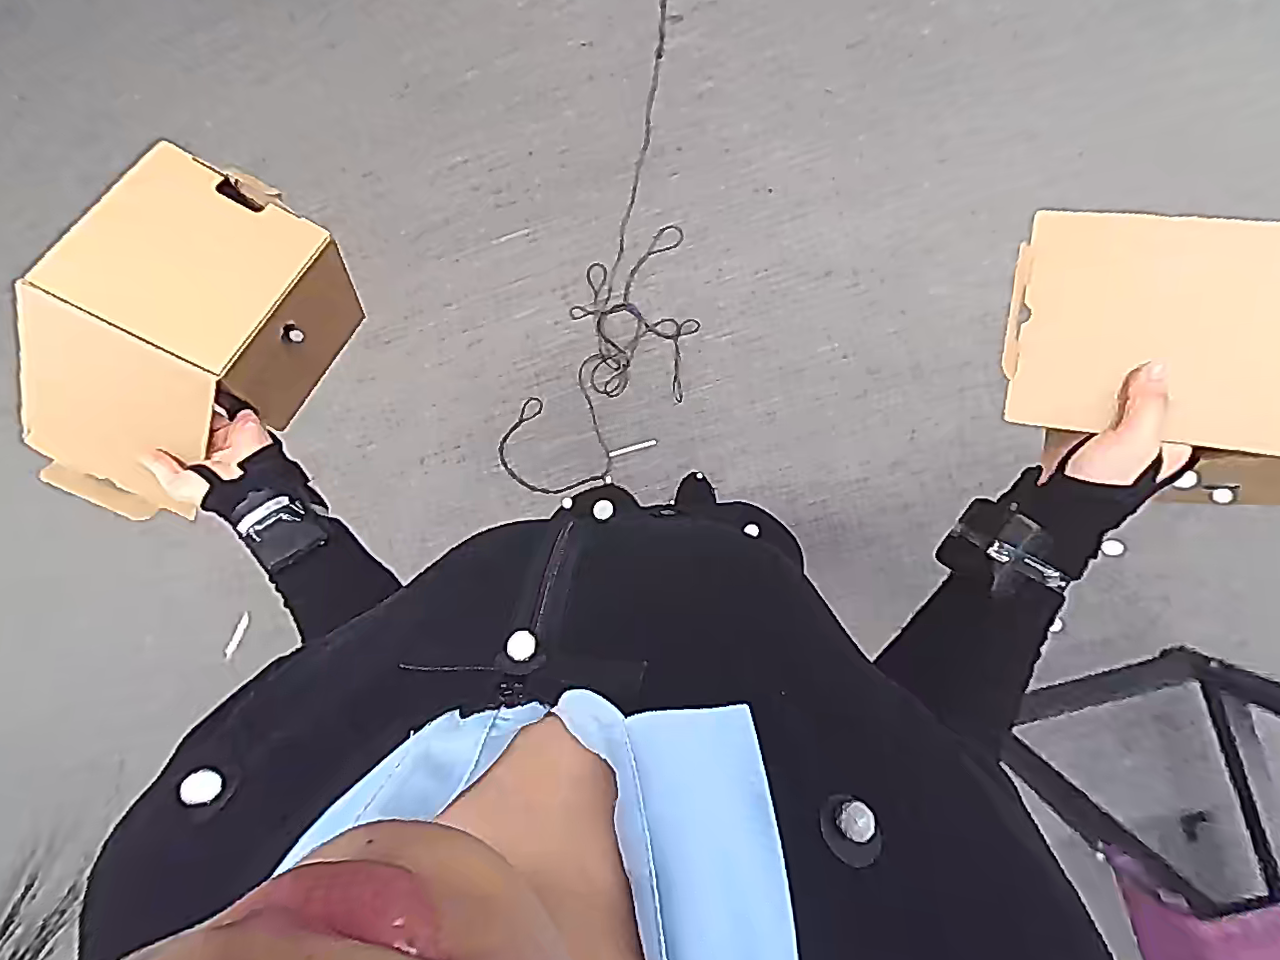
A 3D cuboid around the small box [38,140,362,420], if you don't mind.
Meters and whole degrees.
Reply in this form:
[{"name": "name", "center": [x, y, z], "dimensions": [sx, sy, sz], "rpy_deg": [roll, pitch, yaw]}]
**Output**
[{"name": "small box", "center": [-0.419, -0.187, 0.561], "dimensions": [0.168, 0.176, 0.179], "rpy_deg": [29, 71, -9]}]
